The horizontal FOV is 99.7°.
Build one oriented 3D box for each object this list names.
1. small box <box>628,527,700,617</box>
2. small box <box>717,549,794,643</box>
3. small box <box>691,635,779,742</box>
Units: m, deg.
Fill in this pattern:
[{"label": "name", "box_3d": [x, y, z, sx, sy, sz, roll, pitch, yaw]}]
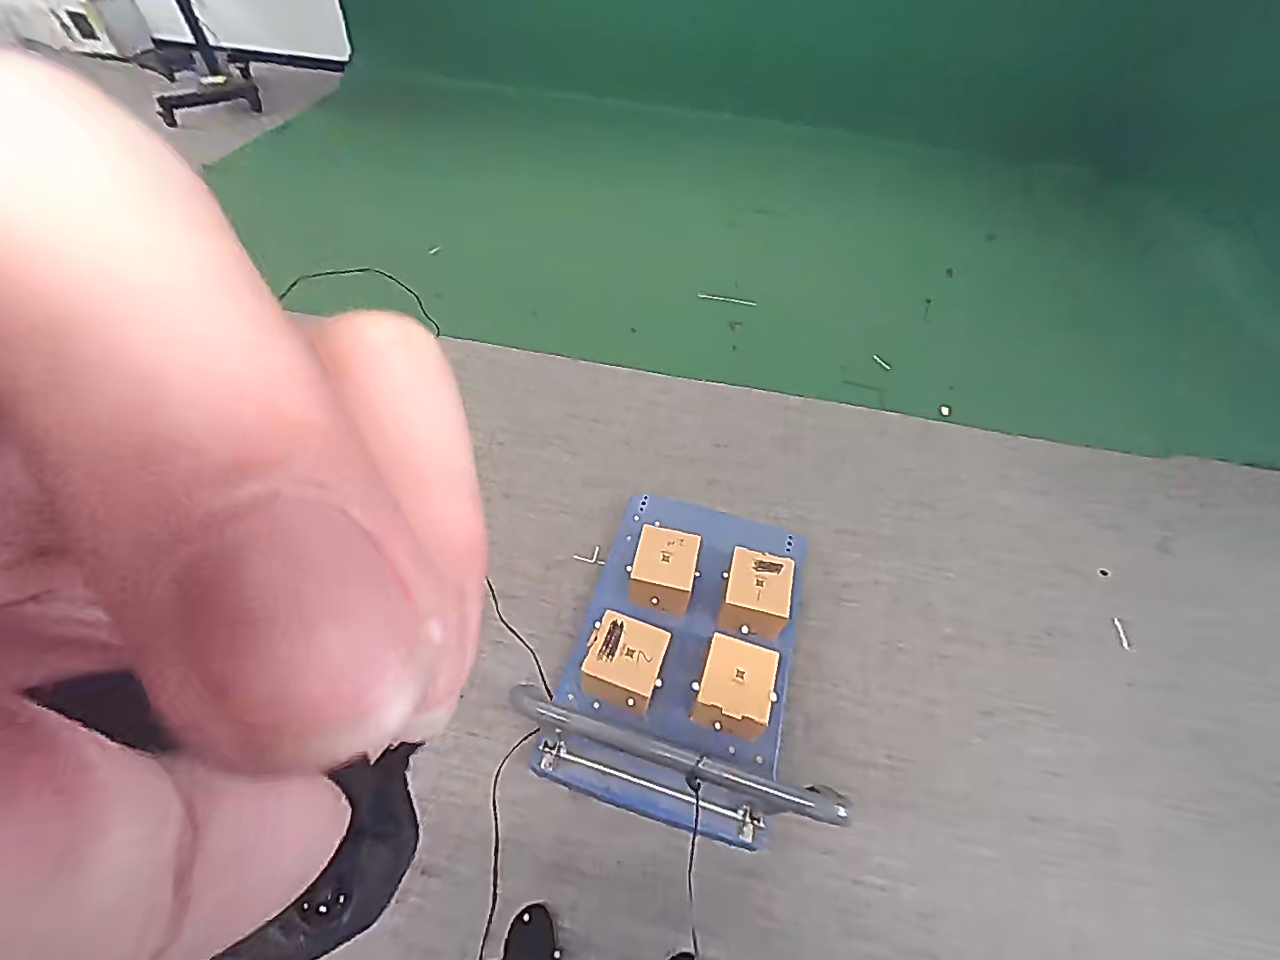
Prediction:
[{"label": "small box", "box_3d": [0.064, 0.262, 1.516, 0.168, 0.176, 0.179, 13, 53, 5]}, {"label": "small box", "box_3d": [0.313, 0.321, 1.486, 0.168, 0.176, 0.179, 13, 54, 7]}, {"label": "small box", "box_3d": [0.229, 0.516, 1.332, 0.168, 0.176, 0.179, 16, 54, 8]}]
